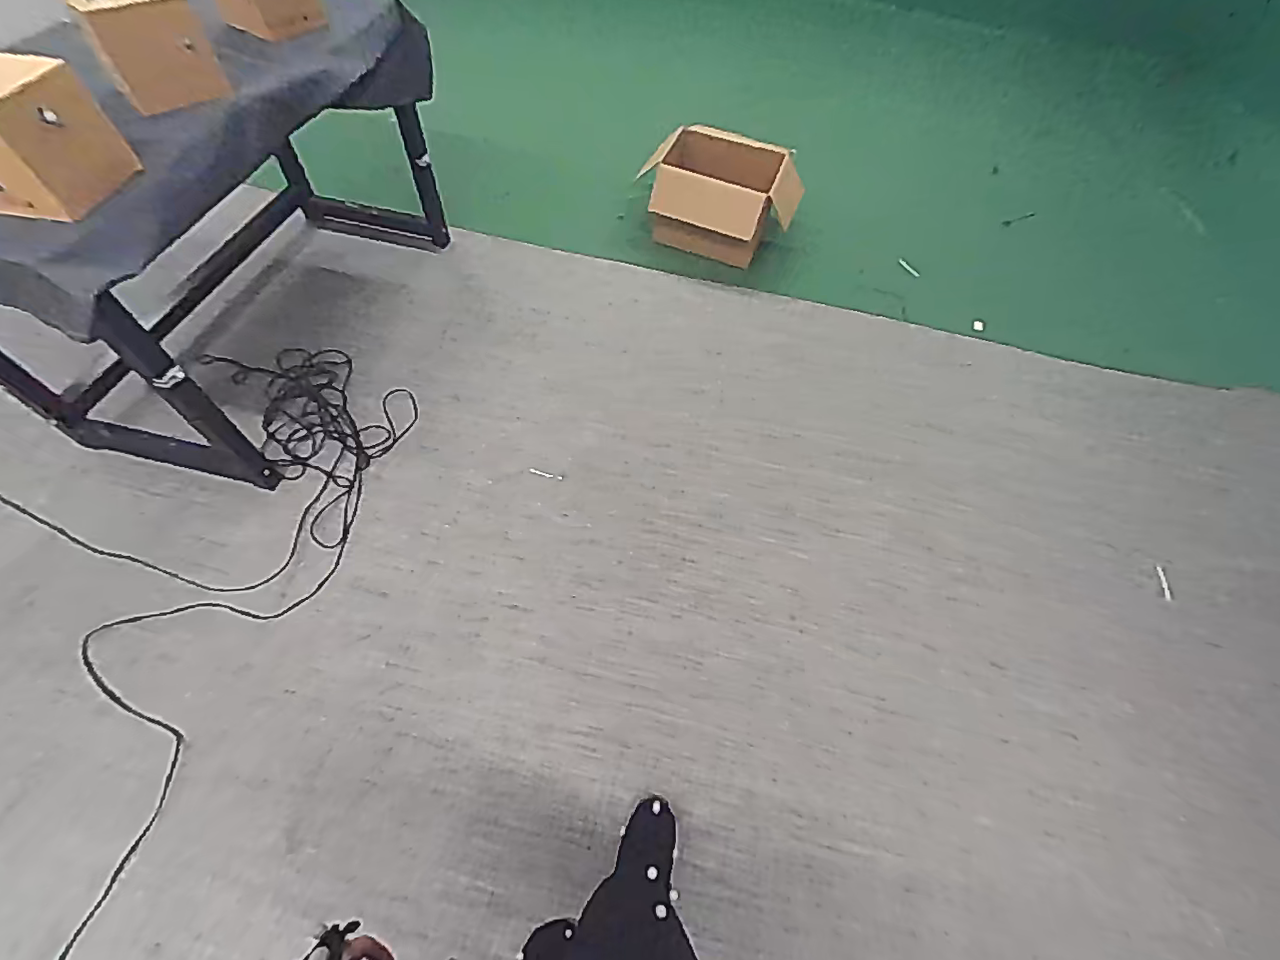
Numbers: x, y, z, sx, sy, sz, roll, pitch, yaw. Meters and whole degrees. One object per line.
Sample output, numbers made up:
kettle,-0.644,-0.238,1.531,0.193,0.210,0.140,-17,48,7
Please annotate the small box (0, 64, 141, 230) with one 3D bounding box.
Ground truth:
small box,-0.985,-0.542,0.882,0.168,0.176,0.179,8,57,4

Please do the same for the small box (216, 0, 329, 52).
small box,-0.892,-1.159,1.293,0.179,0.176,0.168,28,59,15
